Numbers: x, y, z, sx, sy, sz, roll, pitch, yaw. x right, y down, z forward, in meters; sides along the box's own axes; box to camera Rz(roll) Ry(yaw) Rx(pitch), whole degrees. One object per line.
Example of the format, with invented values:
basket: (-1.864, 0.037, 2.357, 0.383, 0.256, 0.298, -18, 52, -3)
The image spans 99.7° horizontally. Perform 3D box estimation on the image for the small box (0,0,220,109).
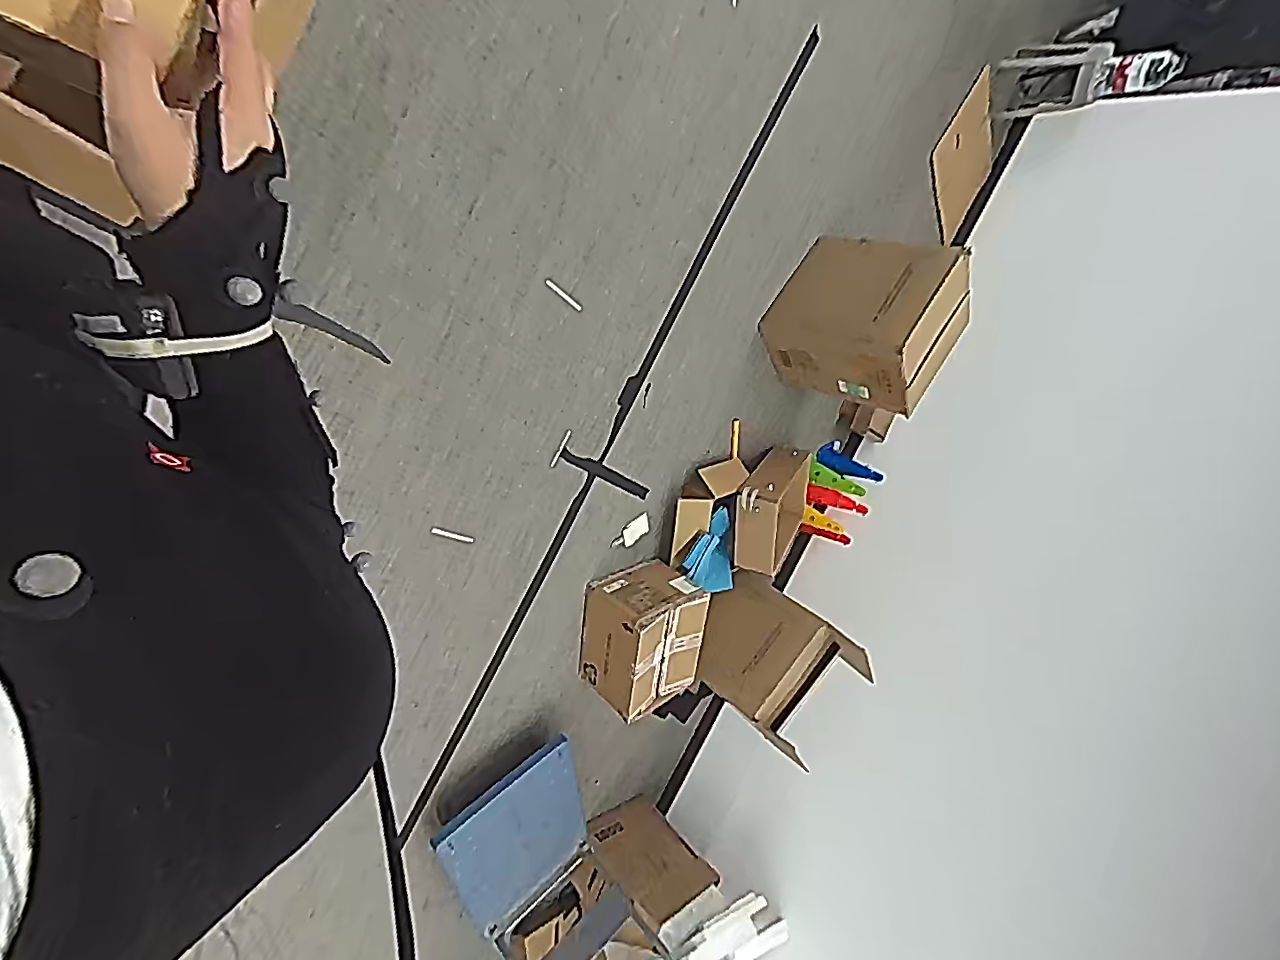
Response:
small box: (-0.315, -0.309, 0.254, 0.179, 0.176, 0.168, 7, 107, -48)
